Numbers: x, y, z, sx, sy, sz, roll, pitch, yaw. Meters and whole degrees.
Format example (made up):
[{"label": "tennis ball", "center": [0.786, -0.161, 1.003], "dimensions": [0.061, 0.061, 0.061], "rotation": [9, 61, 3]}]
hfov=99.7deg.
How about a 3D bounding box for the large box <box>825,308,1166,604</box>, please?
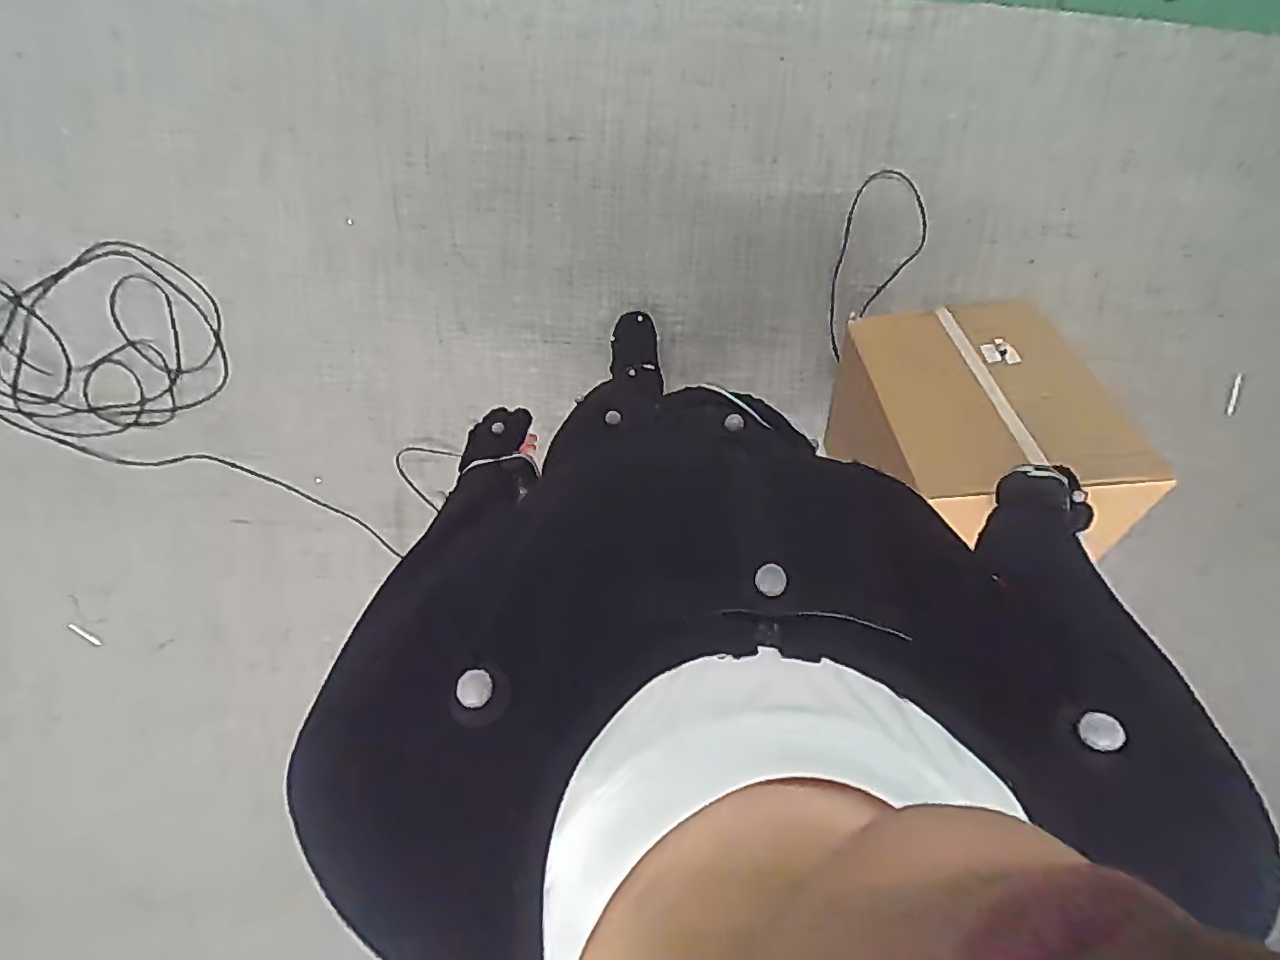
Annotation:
[{"label": "large box", "center": [0.539, -0.043, 0.941], "dimensions": [0.320, 0.408, 0.320], "rotation": [-4, 138, 4]}]
